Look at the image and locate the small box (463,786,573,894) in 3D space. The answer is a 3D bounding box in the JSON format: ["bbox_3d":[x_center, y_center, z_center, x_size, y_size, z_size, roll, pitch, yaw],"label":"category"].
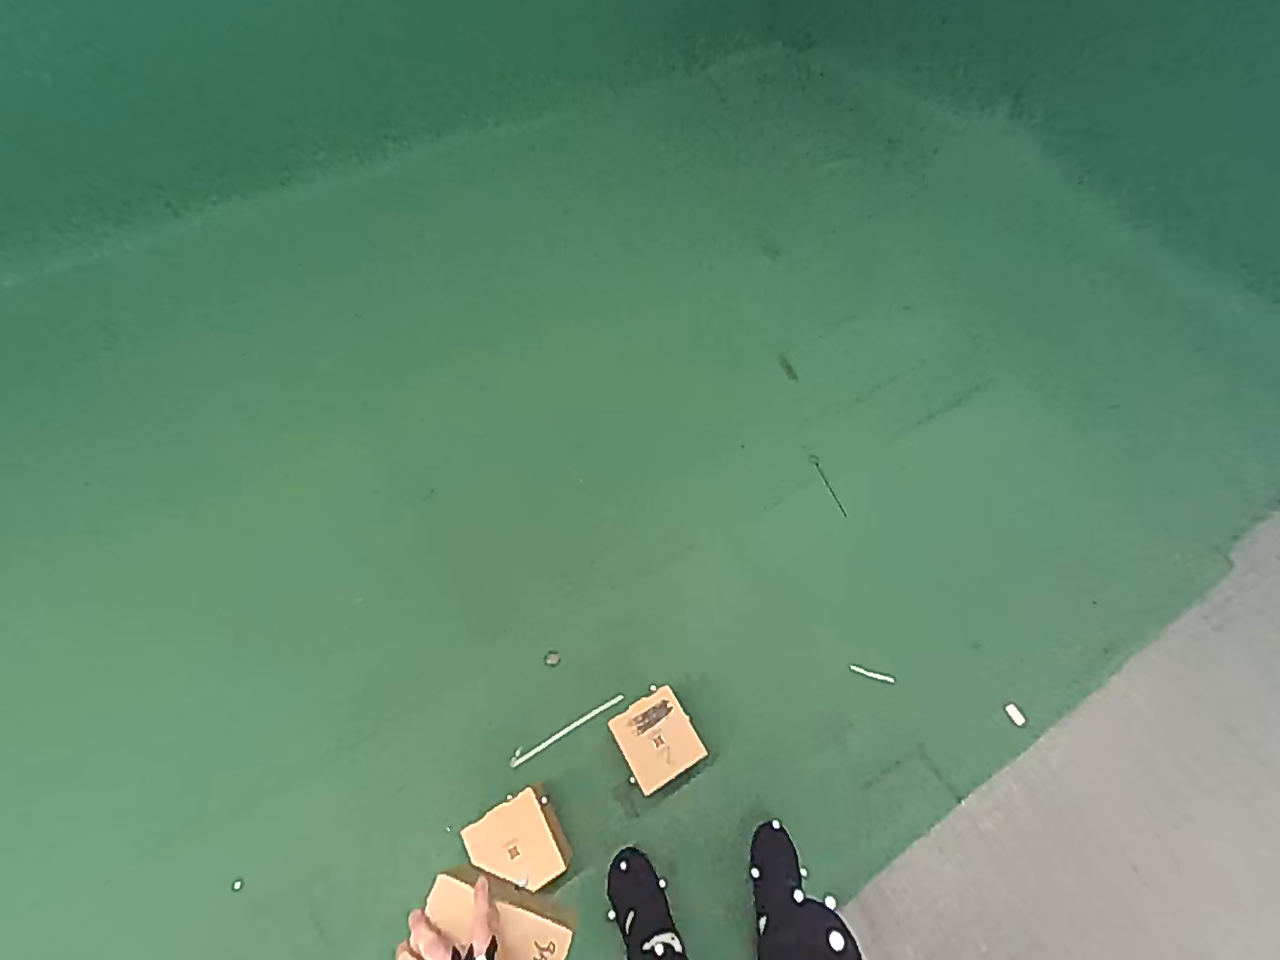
[{"bbox_3d":[-0.261,0.807,1.195,0.168,0.176,0.179,-27,66,-14],"label":"small box"}]

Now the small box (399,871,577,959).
[{"bbox_3d":[-0.187,0.597,0.650,0.179,0.176,0.168,18,59,8],"label":"small box"}]
